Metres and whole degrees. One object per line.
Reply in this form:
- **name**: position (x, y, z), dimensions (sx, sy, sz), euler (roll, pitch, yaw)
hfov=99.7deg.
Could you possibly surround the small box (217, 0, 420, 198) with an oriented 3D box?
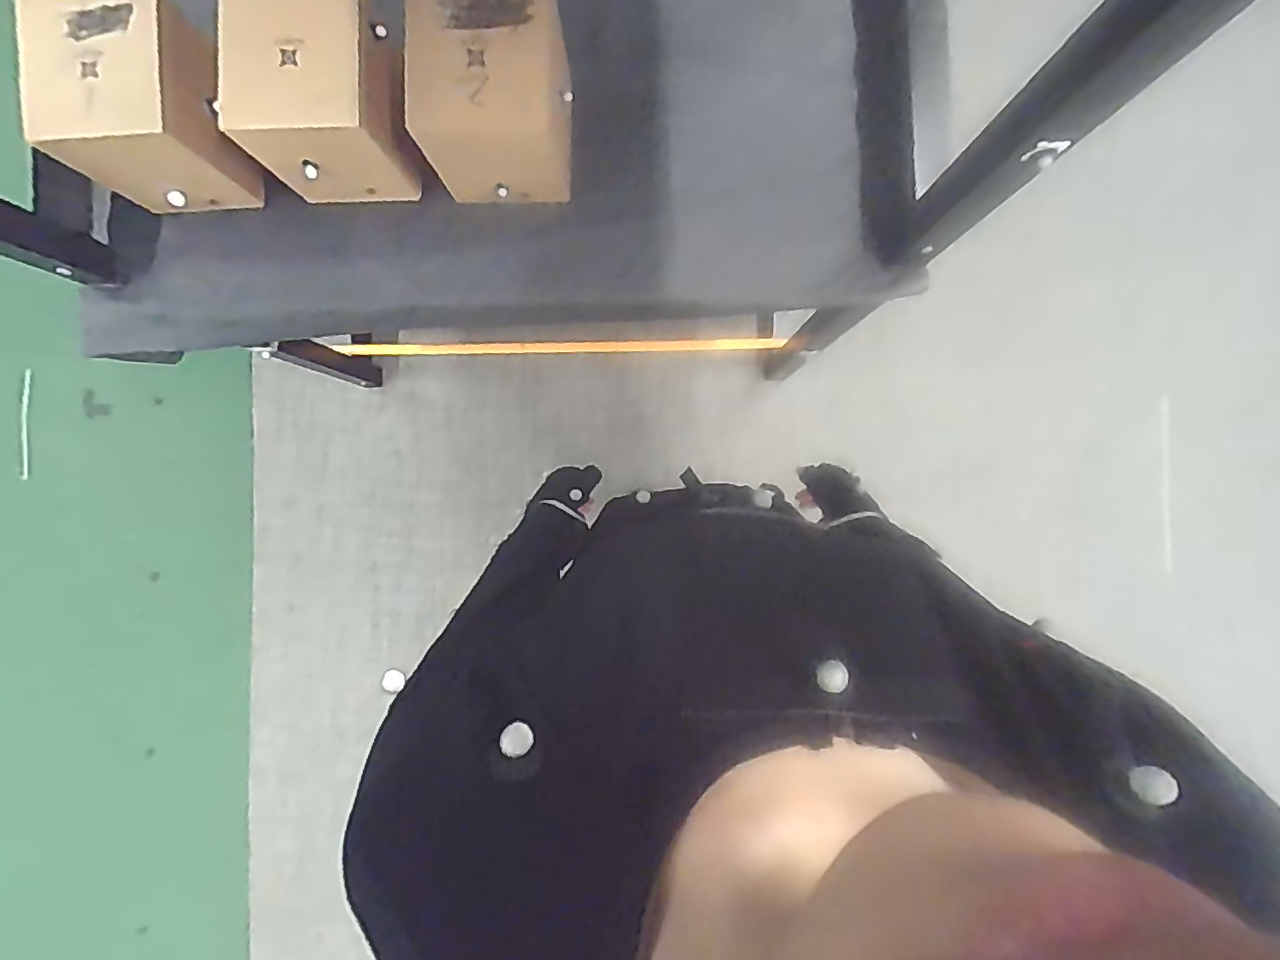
- **small box**: position (-0.396, -0.485, 0.693), dimensions (0.168, 0.176, 0.179), euler (-1, 88, 1)

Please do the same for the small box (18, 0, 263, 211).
- **small box**: position (-0.623, -0.476, 0.695), dimensions (0.168, 0.176, 0.179), euler (-3, 89, 1)
